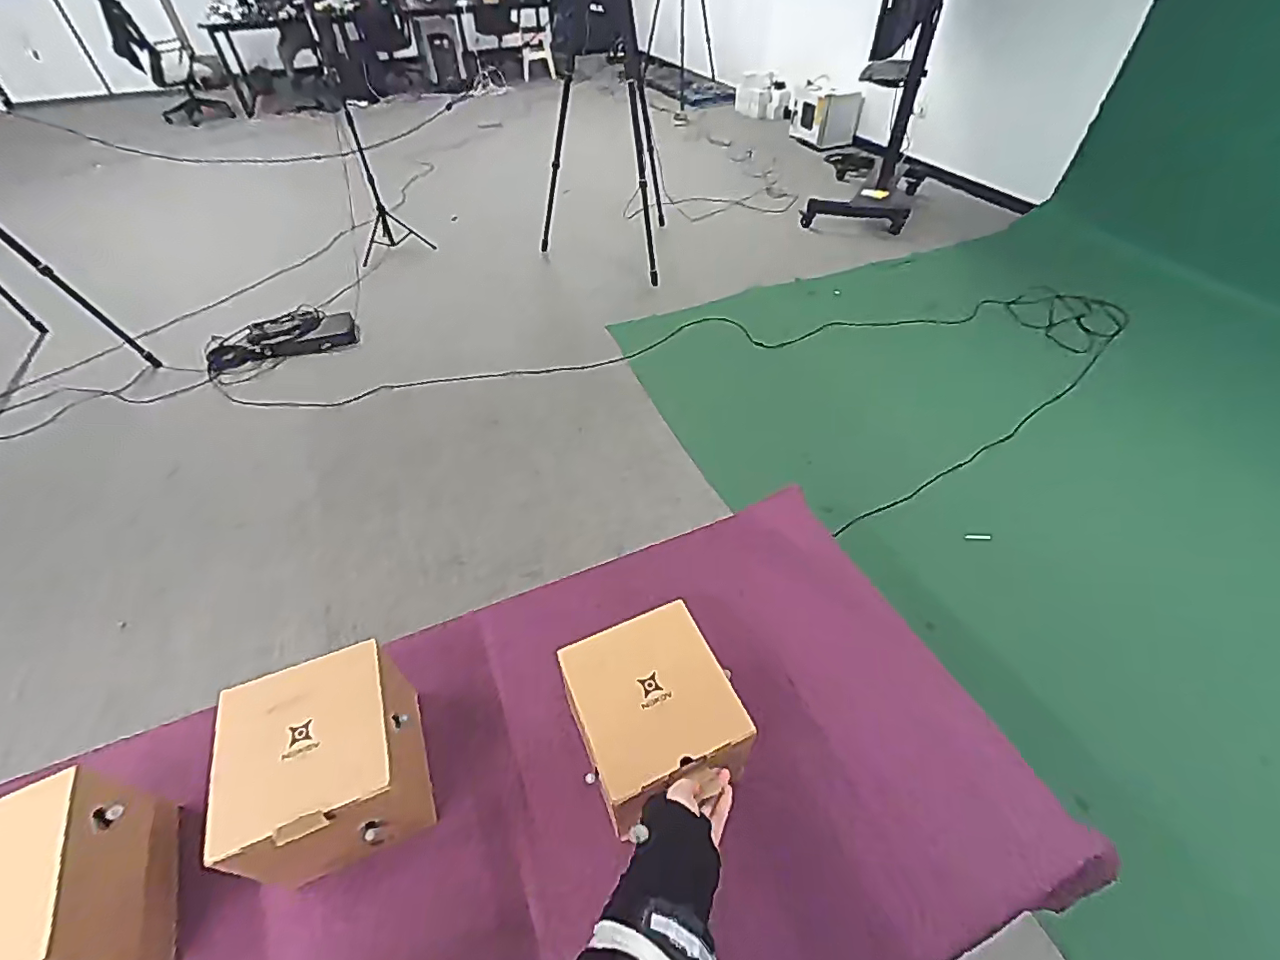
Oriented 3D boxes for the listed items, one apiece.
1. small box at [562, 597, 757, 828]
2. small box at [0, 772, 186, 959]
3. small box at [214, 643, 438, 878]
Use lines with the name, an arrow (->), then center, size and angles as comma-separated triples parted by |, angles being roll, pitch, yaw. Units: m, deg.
small box -> 0.016, 0.281, 0.657 | 0.168, 0.176, 0.179 | -20, 50, -16
small box -> -0.592, 0.435, 0.533 | 0.168, 0.176, 0.179 | -23, 51, -18
small box -> -0.348, 0.328, 0.626 | 0.168, 0.176, 0.179 | -18, 49, -15
